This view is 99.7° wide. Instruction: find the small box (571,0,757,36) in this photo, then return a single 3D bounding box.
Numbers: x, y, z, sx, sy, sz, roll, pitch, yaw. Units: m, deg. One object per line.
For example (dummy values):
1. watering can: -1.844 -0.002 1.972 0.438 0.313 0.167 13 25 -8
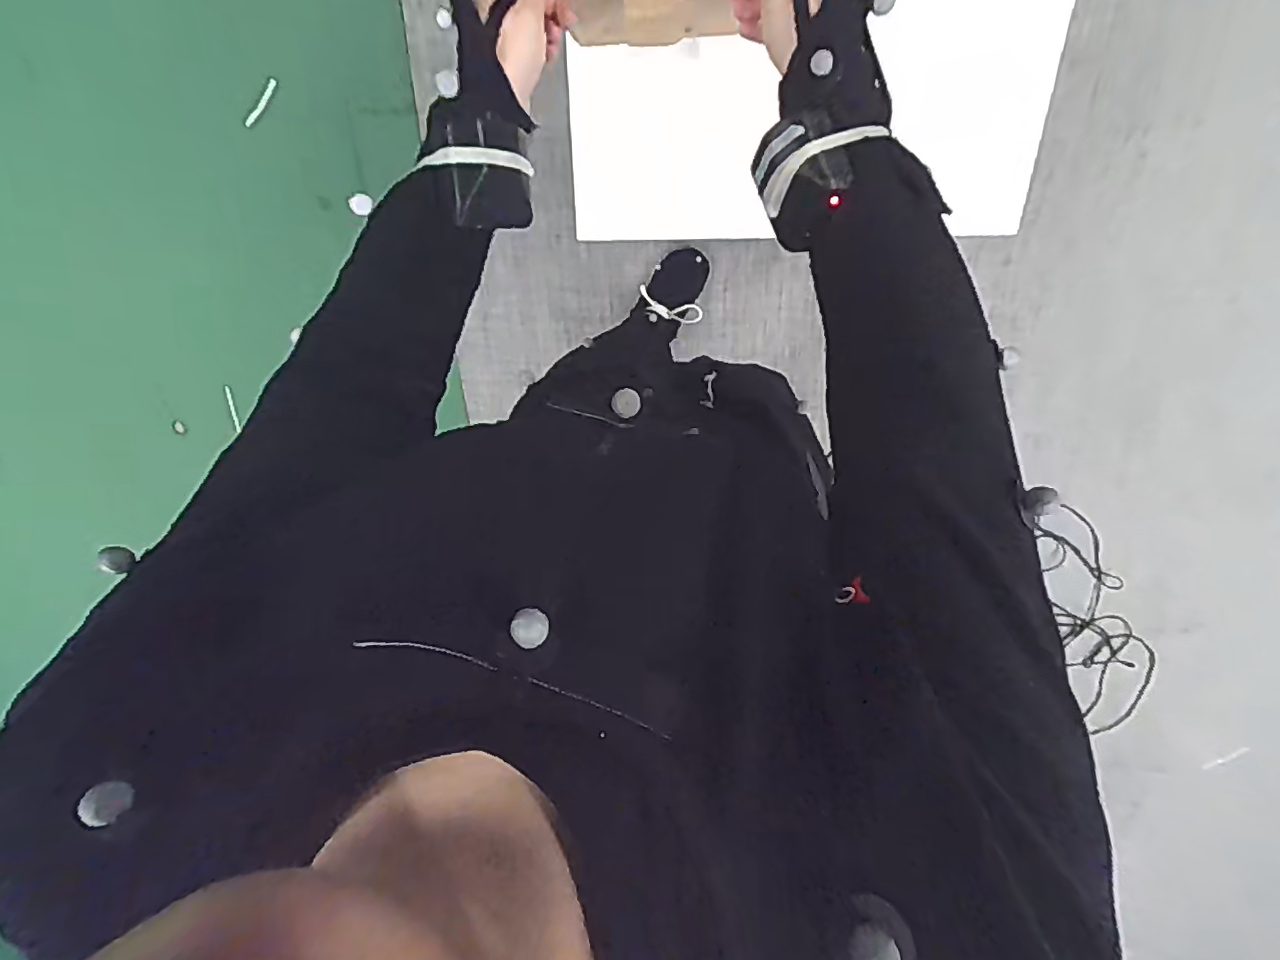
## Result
1. small box: 0.015 -0.467 0.402 0.168 0.176 0.179 0 117 5
